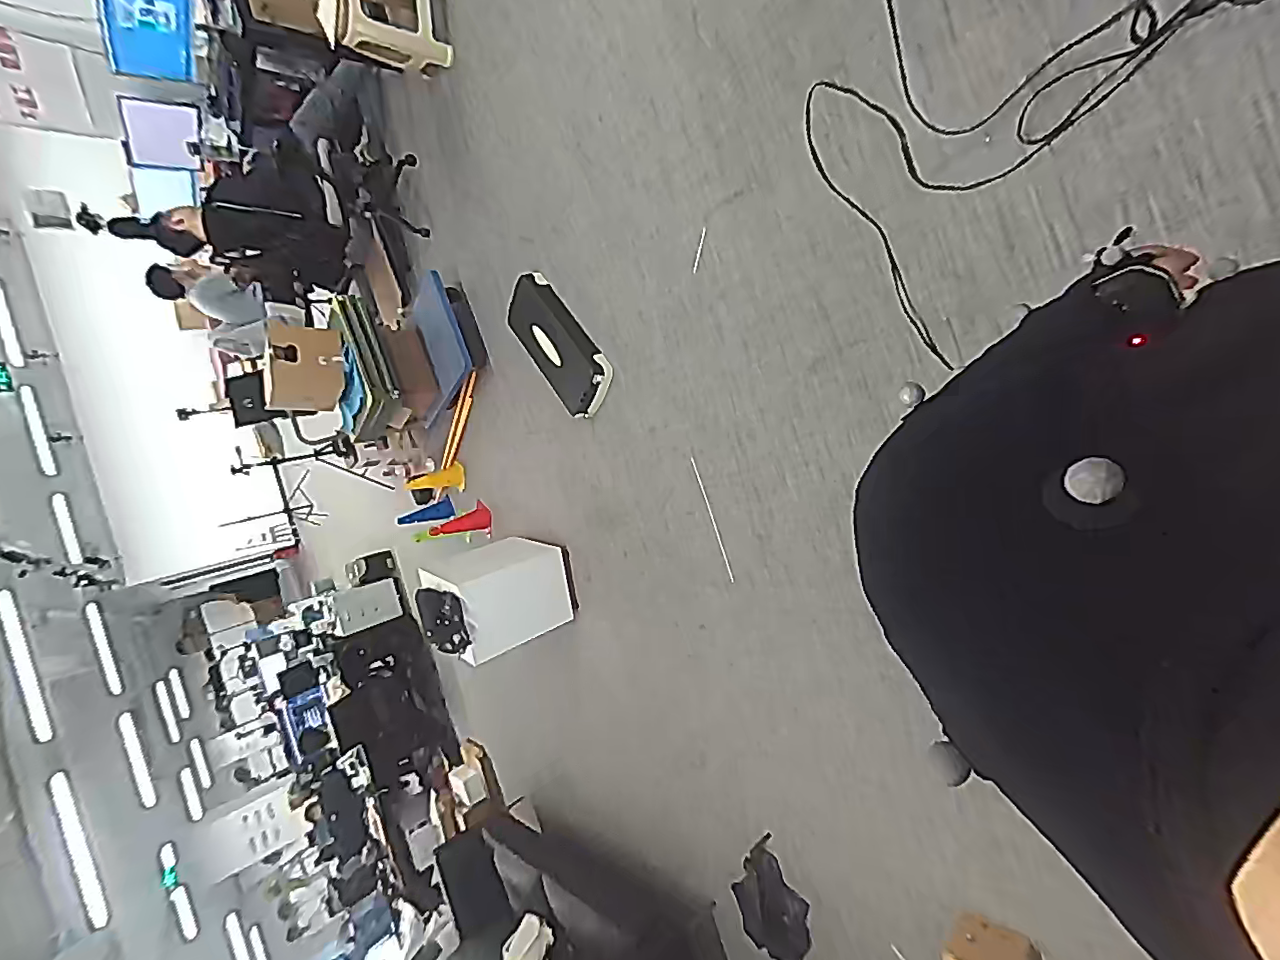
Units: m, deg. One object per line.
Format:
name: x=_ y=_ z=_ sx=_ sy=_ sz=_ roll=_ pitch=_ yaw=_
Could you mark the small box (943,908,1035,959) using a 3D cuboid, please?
small box: x=0.952 y=1.326 z=1.463 sx=0.168 sy=0.176 sz=0.179 roll=-8 pitch=98 yaw=52
